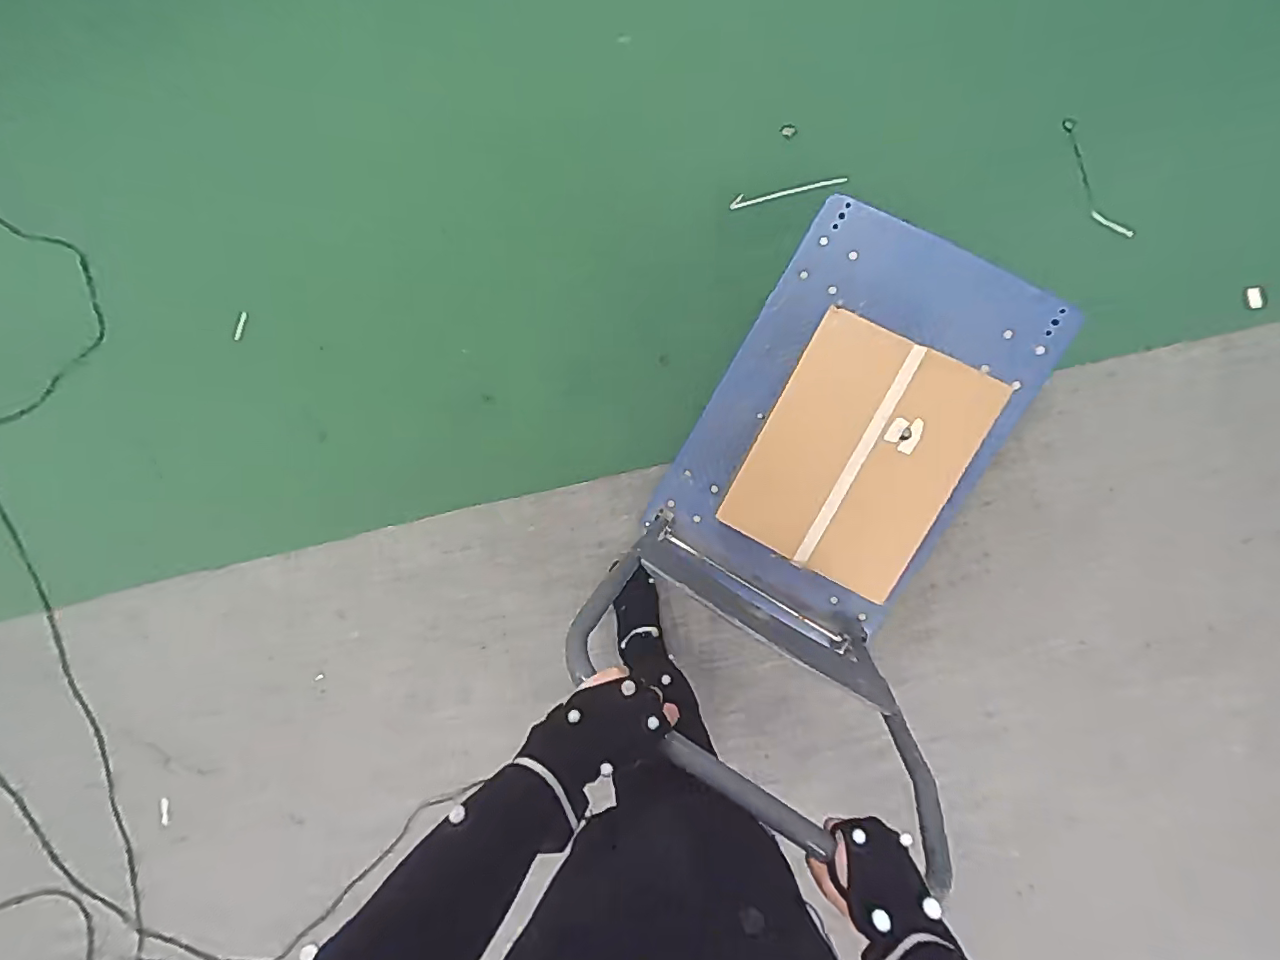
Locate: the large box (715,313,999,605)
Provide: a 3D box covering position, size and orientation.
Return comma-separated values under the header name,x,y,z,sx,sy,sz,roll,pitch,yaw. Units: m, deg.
name,x,y,z,sx,sy,sz,roll,pitch,yaw
large box,0.374,-0.039,1.040,0.320,0.320,0.408,28,98,7
